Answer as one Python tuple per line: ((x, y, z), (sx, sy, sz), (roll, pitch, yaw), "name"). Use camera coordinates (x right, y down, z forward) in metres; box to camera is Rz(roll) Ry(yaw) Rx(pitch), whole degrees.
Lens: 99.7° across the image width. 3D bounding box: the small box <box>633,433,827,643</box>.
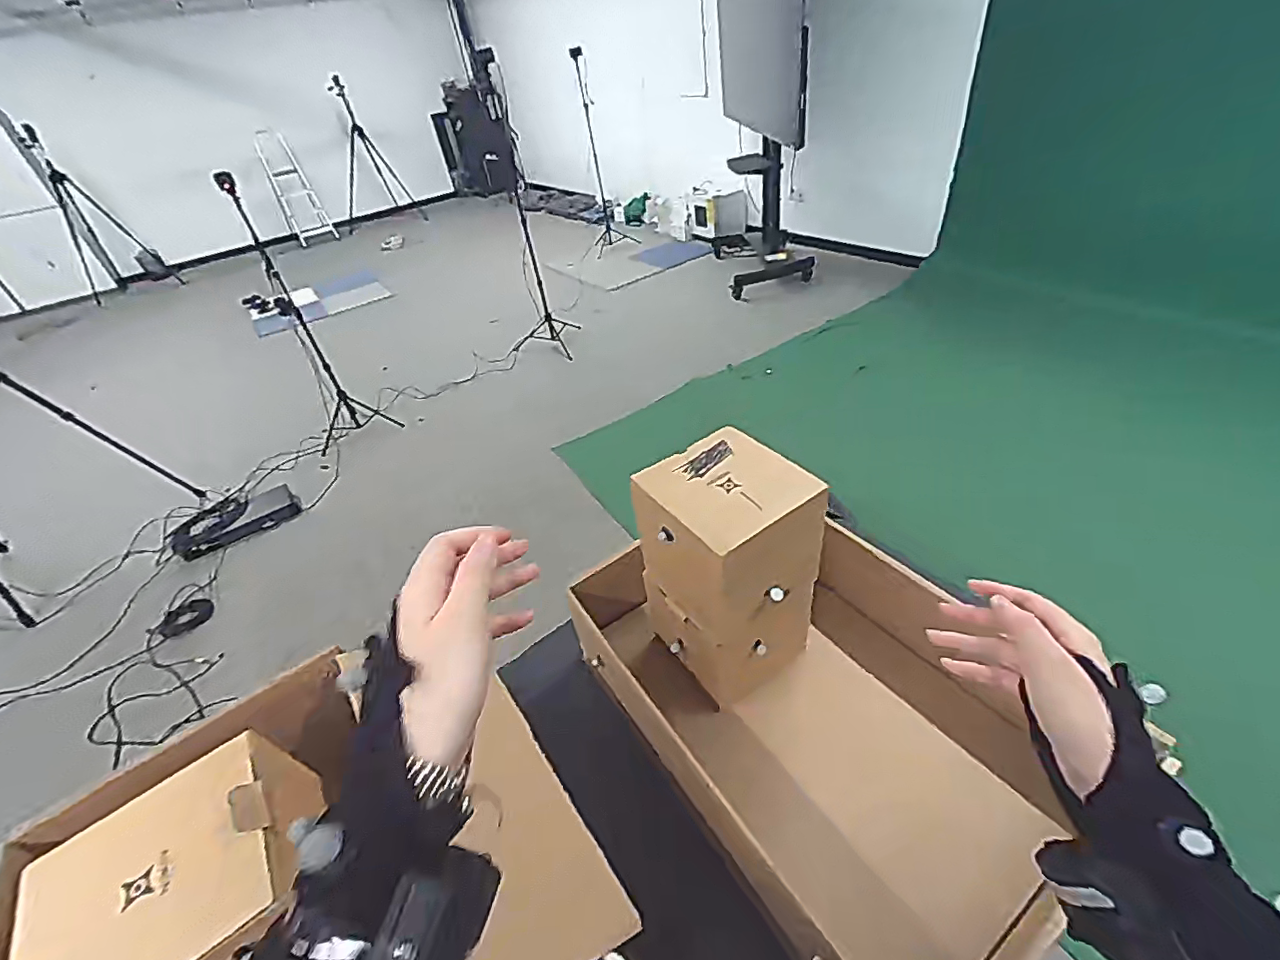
((0.112, 0.071, 0.697), (0.168, 0.176, 0.179), (-29, 44, -22), "small box")
